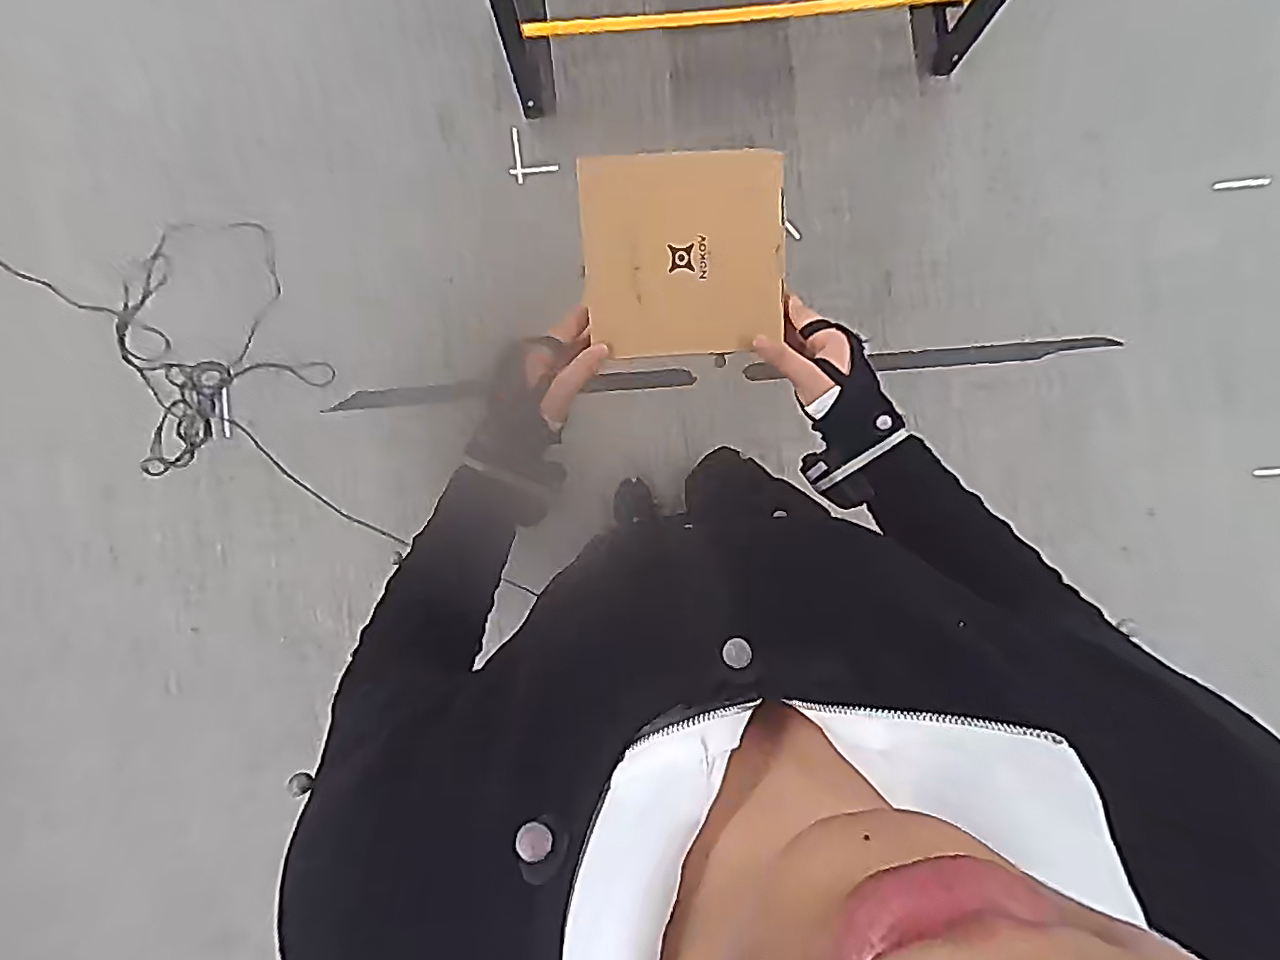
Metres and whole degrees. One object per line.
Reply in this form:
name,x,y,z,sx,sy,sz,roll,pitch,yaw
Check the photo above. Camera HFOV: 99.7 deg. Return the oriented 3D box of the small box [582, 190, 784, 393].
small box,0.036,-0.182,0.556,0.179,0.176,0.168,-5,102,-2
